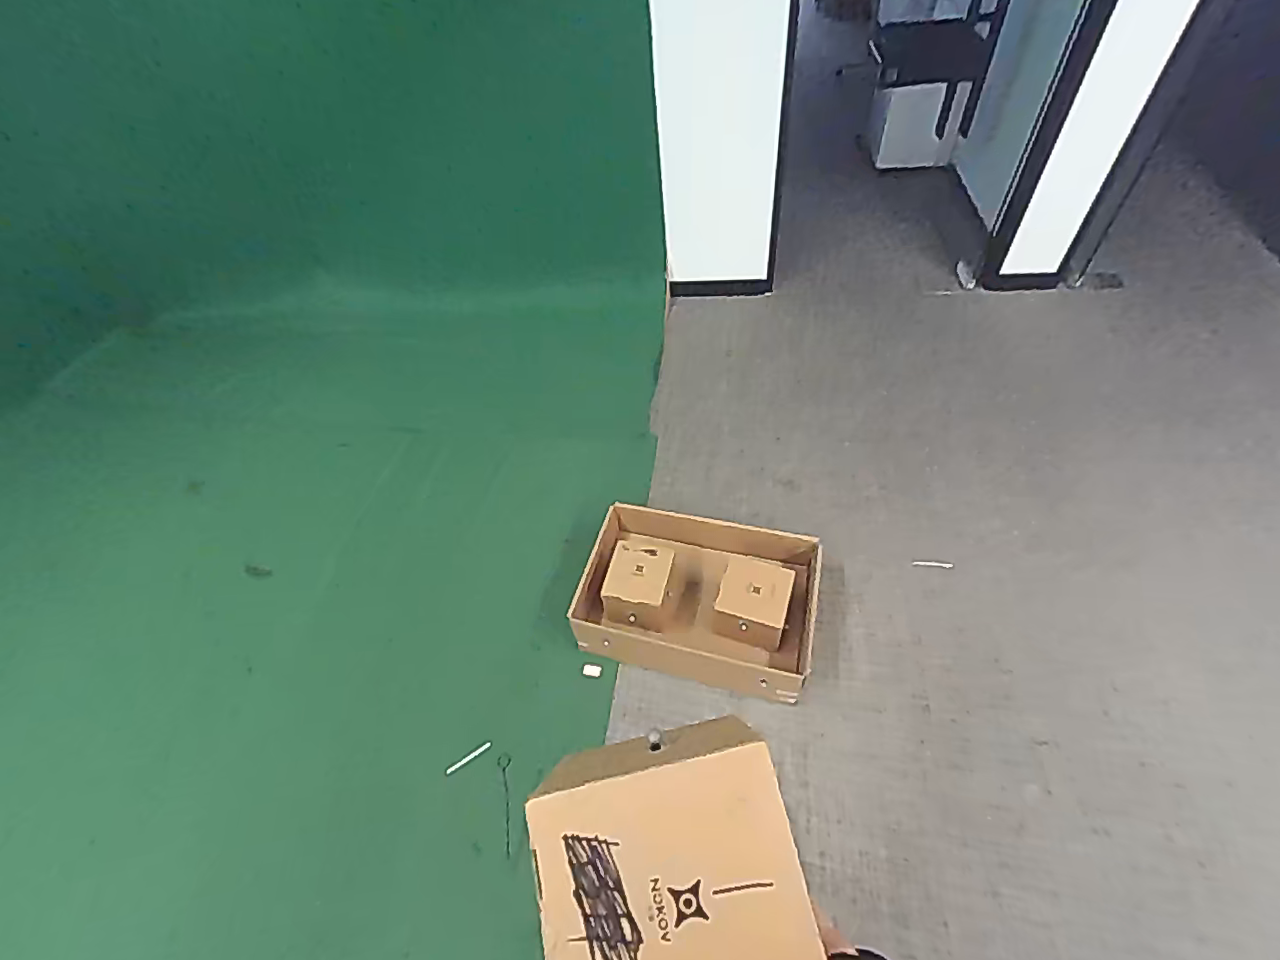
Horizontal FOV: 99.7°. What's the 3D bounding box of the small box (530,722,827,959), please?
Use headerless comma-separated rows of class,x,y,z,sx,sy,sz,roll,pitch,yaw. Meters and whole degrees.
small box,0.026,0.305,0.432,0.179,0.176,0.168,-13,72,-3
